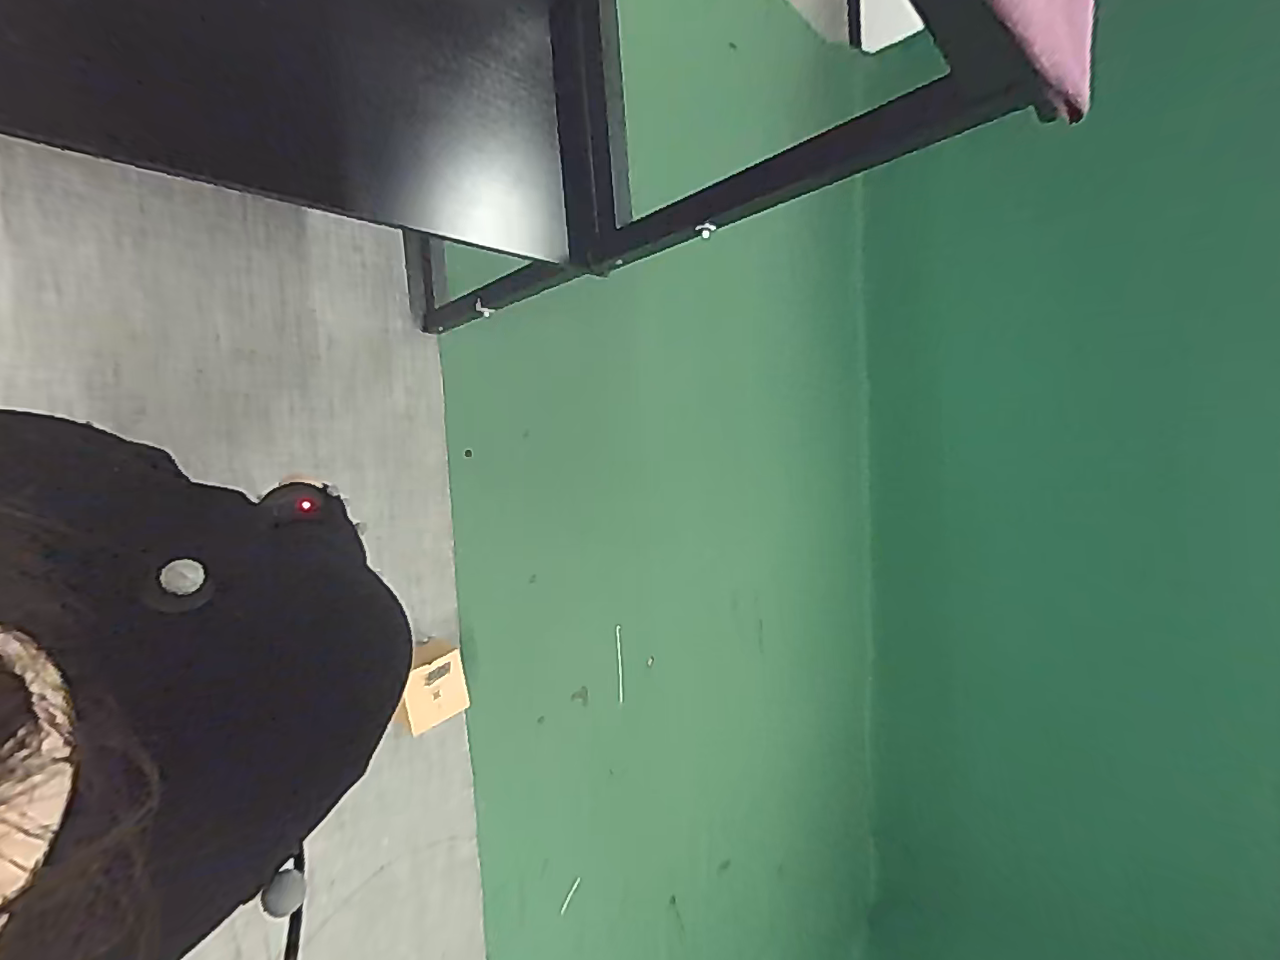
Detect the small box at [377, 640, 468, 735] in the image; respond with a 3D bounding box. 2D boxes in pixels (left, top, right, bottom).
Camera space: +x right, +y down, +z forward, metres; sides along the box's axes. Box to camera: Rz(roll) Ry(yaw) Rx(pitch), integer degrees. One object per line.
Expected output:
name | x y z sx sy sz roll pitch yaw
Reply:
small box | -0.602 0.559 1.490 0.168 0.176 0.179 -16 103 -44
